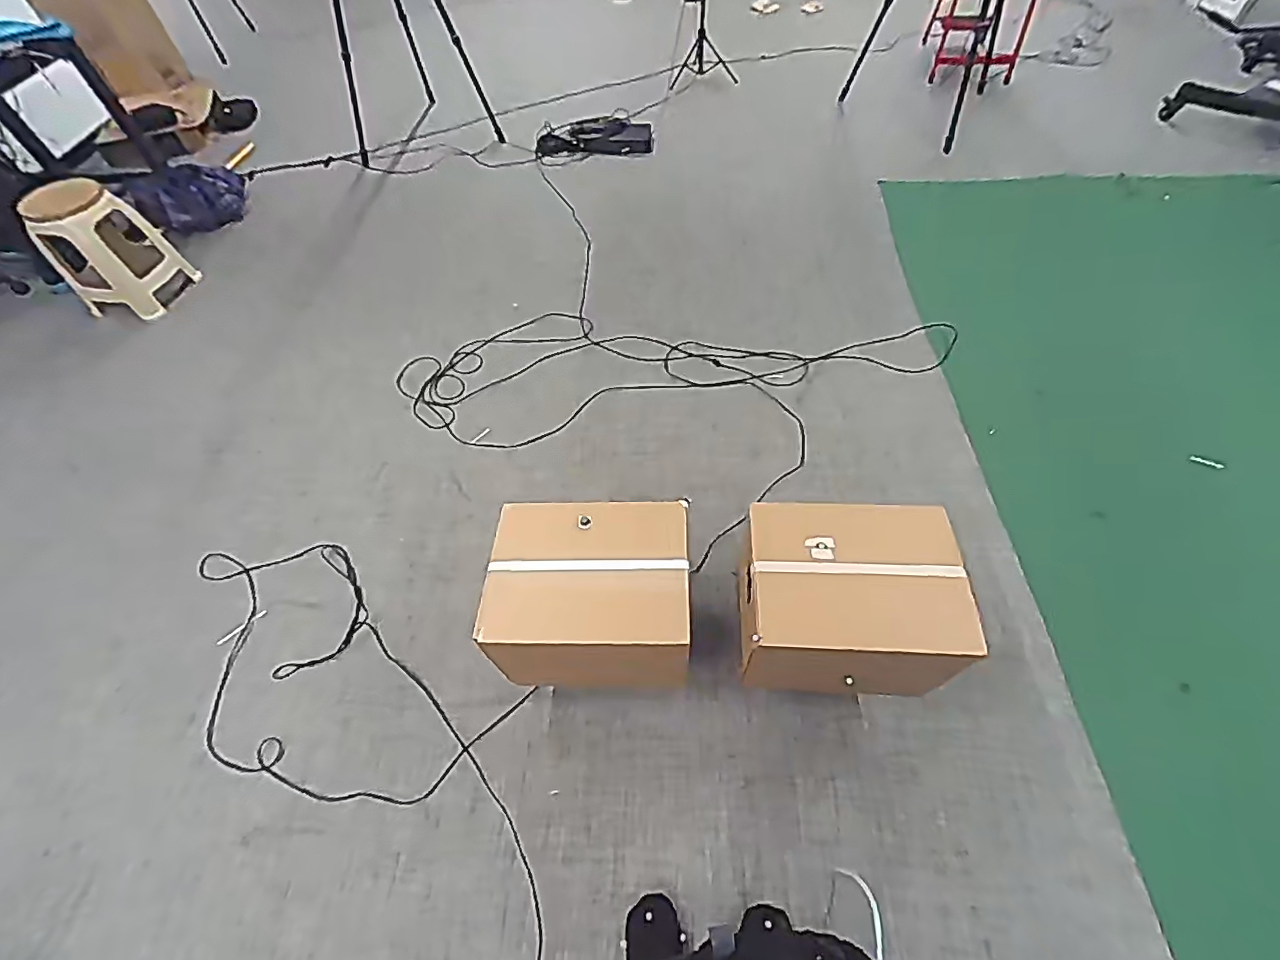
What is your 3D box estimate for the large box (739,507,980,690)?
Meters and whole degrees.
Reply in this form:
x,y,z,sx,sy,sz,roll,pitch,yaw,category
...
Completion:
x,y,z,sx,sy,sz,roll,pitch,yaw,category
0.439,0.269,1.195,0.408,0.320,0.320,1,55,5,large box
